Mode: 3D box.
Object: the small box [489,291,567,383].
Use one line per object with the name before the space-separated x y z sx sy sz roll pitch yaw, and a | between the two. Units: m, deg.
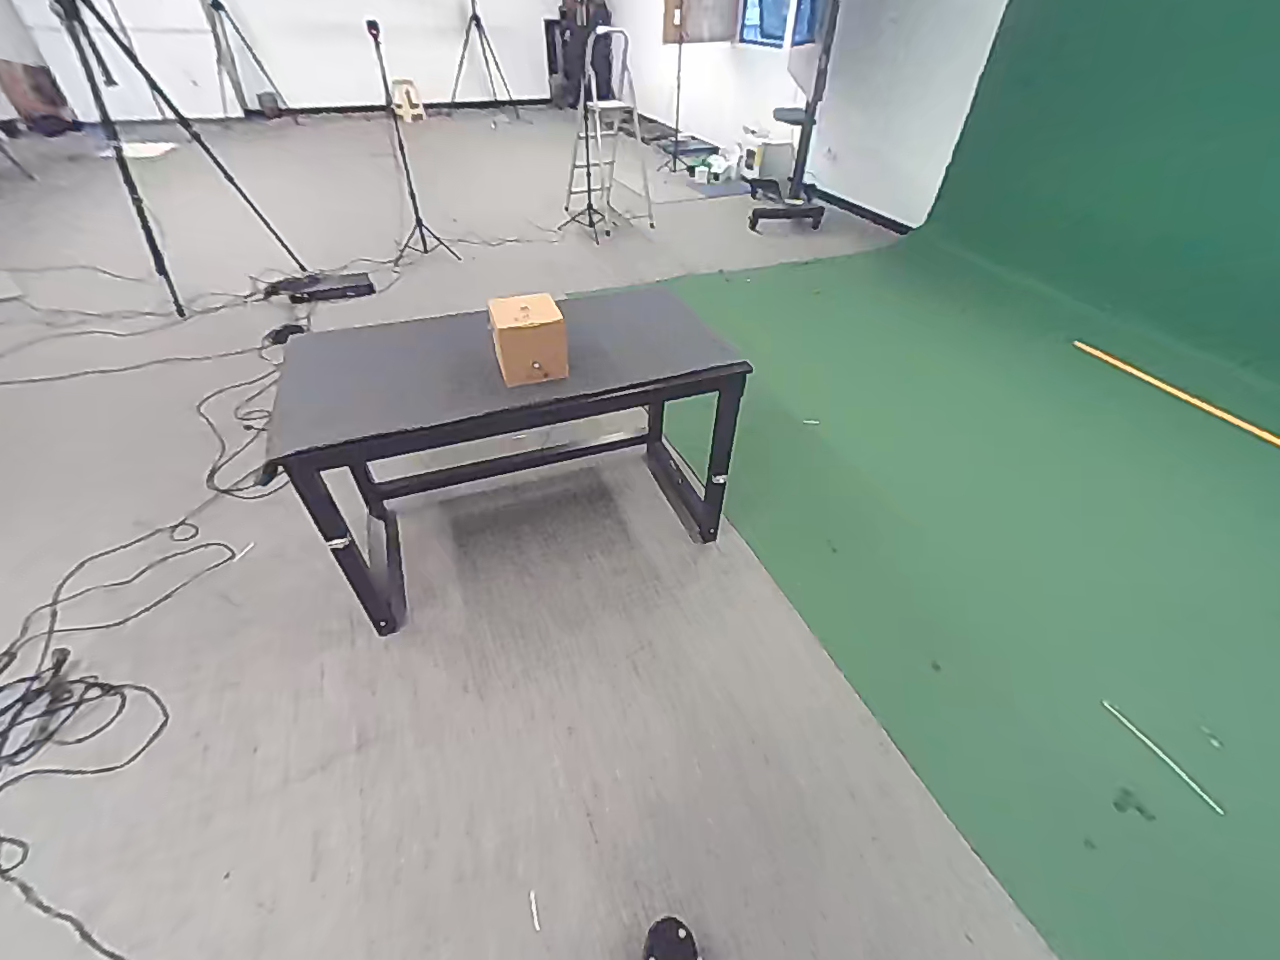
small box | -0.295 -0.378 1.426 0.168 0.176 0.179 -13 44 -15
